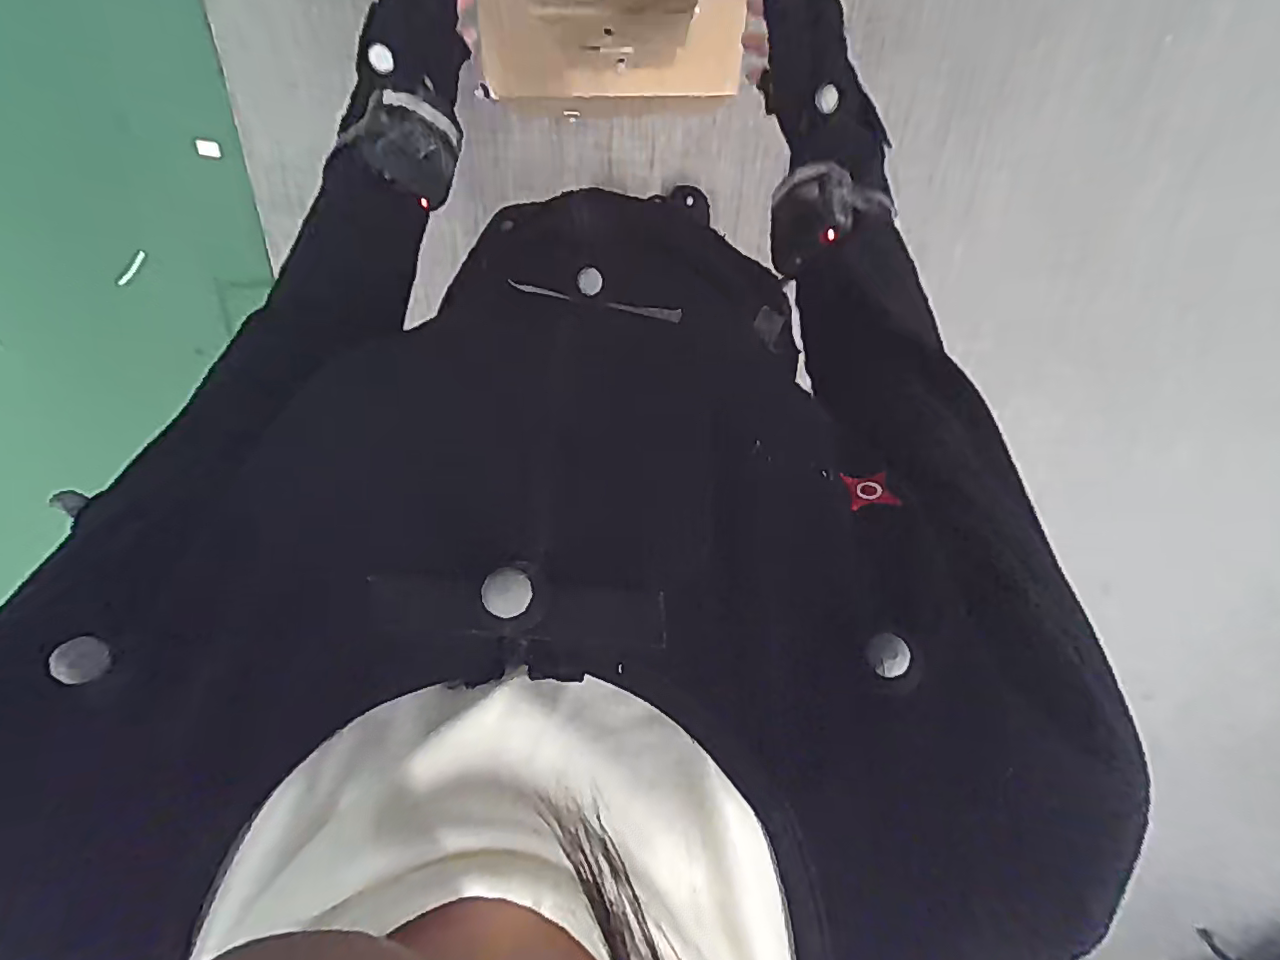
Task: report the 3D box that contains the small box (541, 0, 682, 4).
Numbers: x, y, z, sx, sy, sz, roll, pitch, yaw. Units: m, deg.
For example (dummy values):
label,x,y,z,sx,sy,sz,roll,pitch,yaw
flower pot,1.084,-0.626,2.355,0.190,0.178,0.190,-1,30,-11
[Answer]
label,x,y,z,sx,sy,sz,roll,pitch,yaw
small box,-0.029,-0.517,0.444,0.179,0.176,0.168,1,121,0

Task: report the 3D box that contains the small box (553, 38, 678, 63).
label,x,y,z,sx,sy,sz,roll,pitch,yaw
small box,-0.029,-0.679,0.727,0.168,0.176,0.179,0,120,2

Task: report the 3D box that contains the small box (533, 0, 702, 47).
label,x,y,z,sx,sy,sz,roll,pitch,yaw
small box,-0.026,-0.591,0.588,0.179,0.176,0.168,-2,120,2
